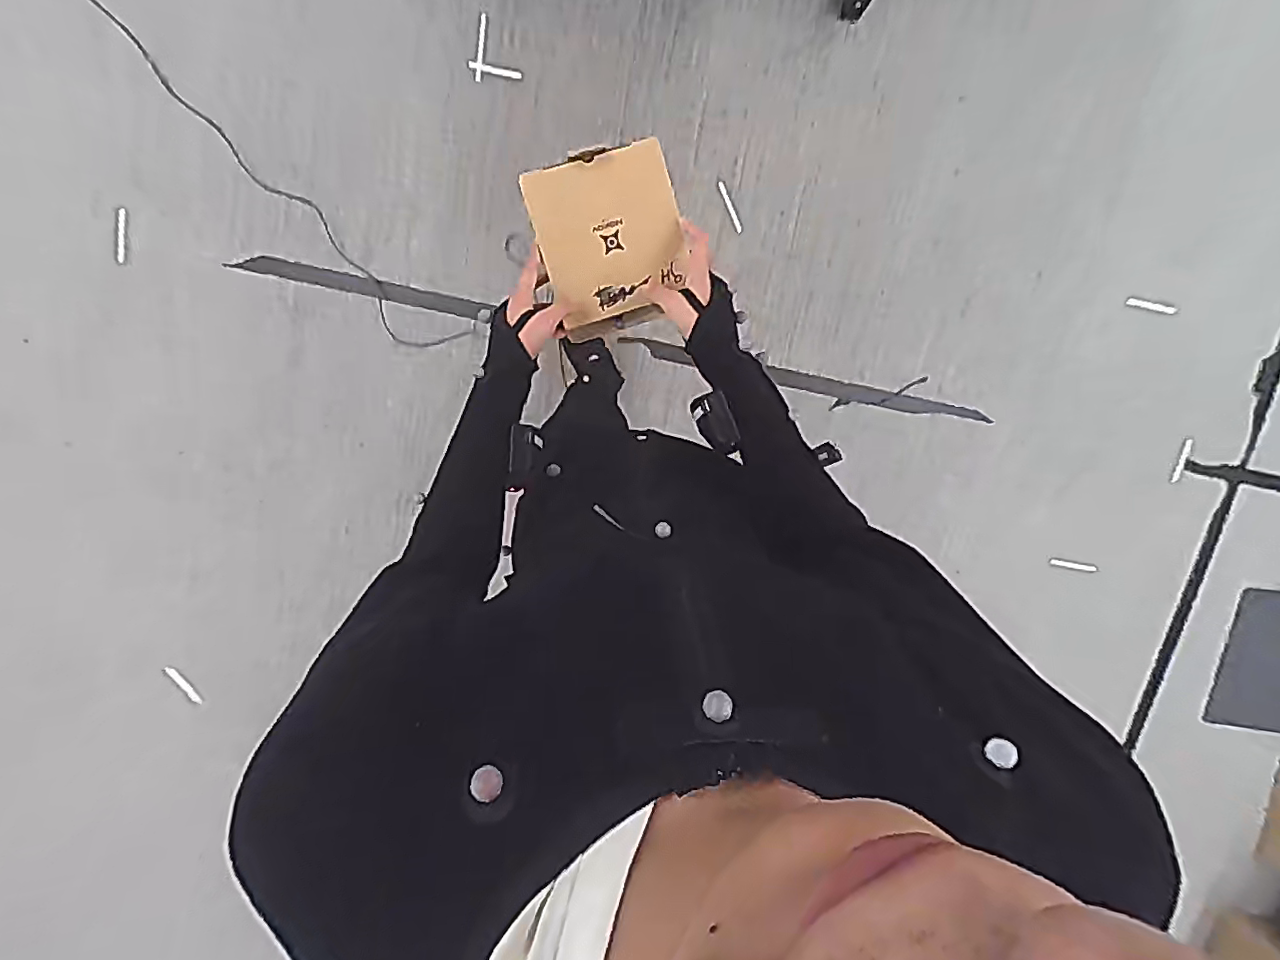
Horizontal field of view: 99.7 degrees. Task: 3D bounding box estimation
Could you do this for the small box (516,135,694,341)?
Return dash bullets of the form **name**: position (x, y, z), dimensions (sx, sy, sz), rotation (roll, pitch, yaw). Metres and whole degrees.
- **small box**: position (-0.044, -0.289, 0.686), dimensions (0.168, 0.176, 0.179), rotation (-17, 100, -1)
